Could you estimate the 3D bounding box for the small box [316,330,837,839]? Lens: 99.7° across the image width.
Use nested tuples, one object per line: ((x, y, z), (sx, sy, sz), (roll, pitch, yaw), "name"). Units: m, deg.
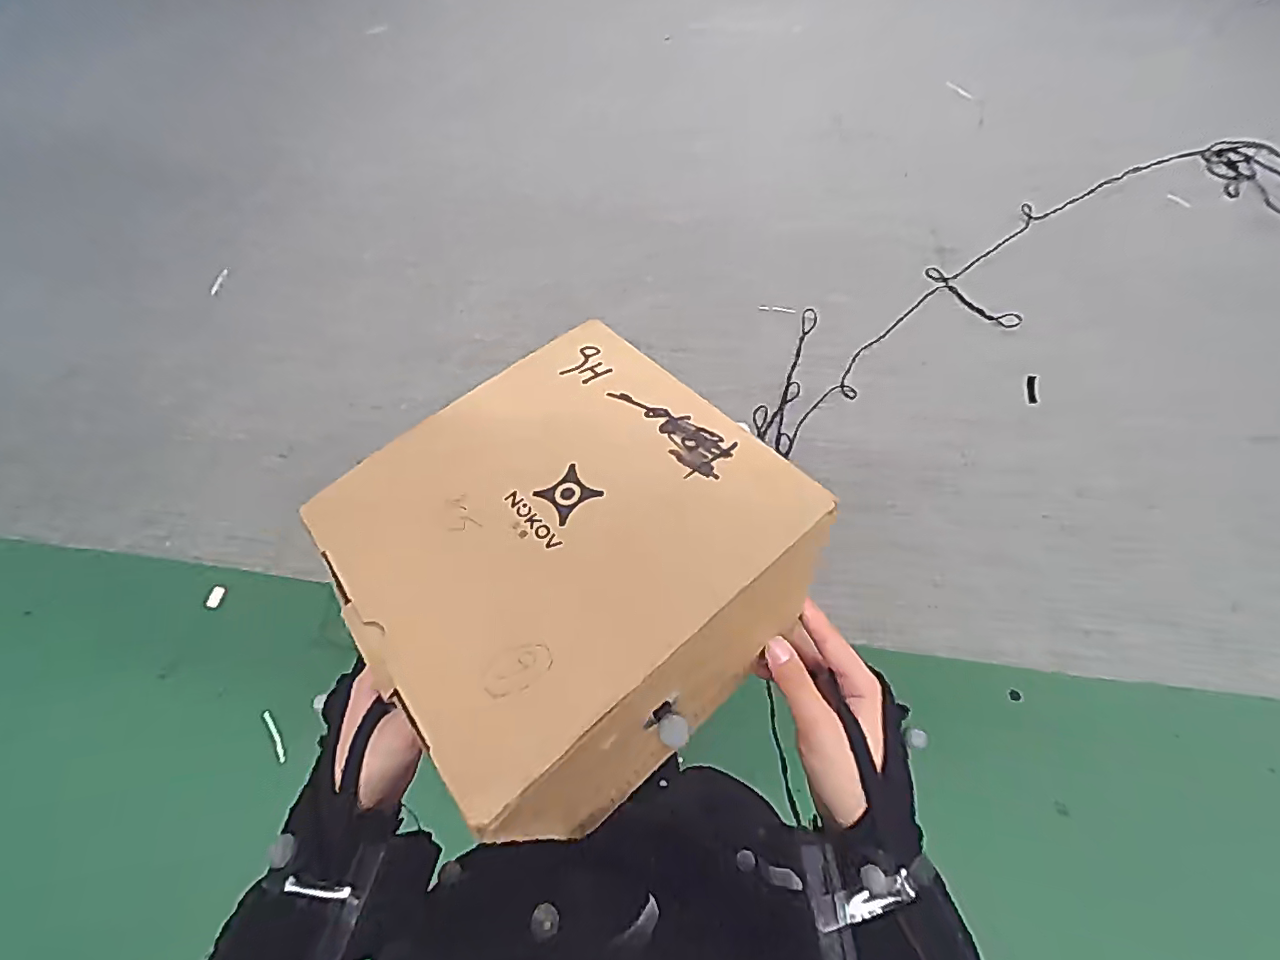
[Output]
((-0.023, 0.060, 0.296), (0.179, 0.176, 0.168), (-38, 59, -15), "small box")
